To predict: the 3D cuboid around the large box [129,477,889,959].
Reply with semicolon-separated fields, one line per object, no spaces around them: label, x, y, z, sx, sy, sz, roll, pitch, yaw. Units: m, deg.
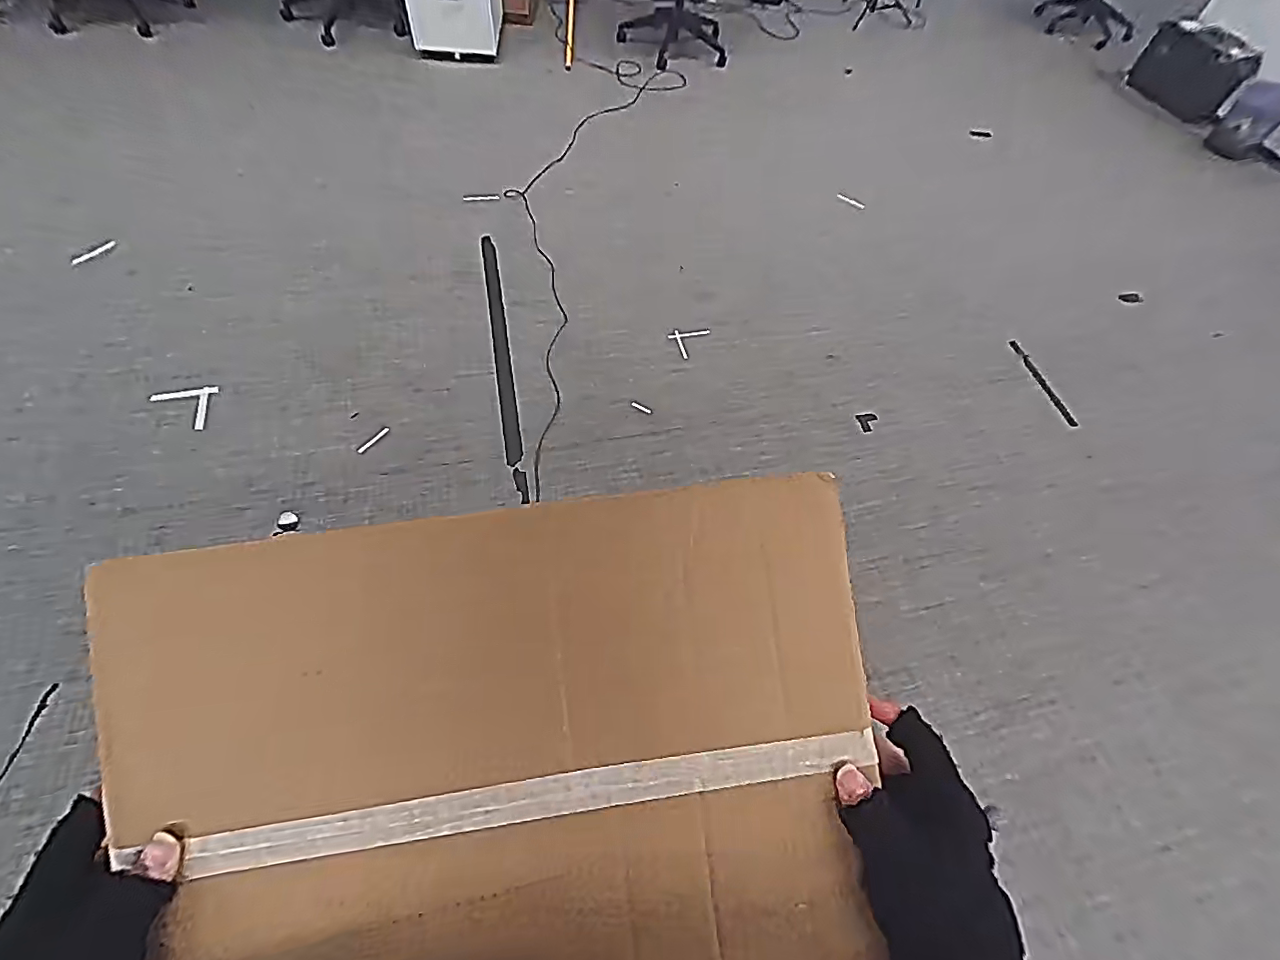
large box;-0.079;0.184;0.454;0.408;0.320;0.320;-7;88;-3
